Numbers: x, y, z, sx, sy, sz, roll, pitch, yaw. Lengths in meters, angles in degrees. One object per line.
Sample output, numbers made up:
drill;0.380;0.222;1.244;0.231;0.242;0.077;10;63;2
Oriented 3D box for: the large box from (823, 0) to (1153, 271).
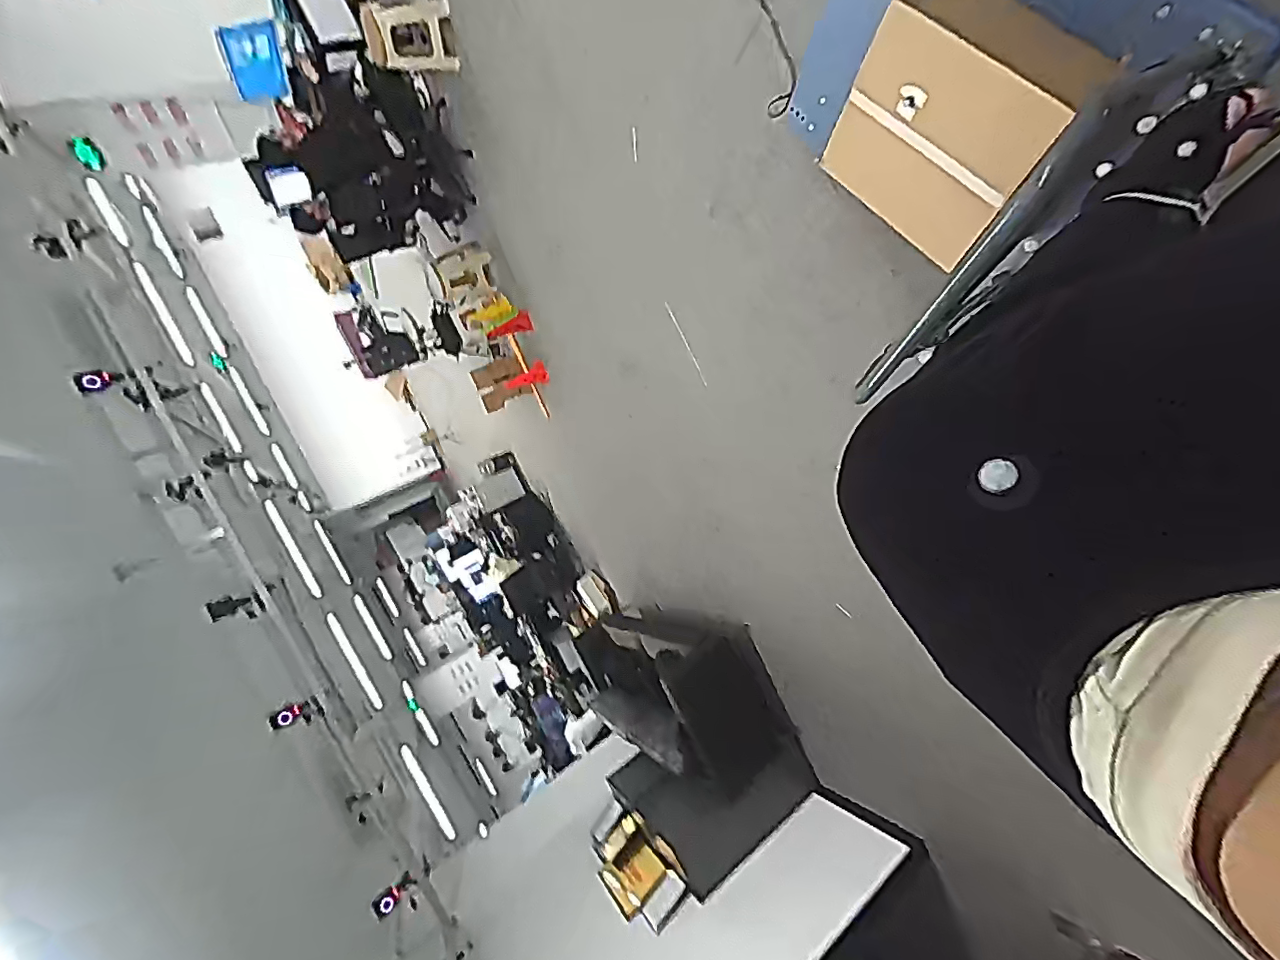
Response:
large box;0.675;-0.710;1.104;0.408;0.320;0.320;54;155;19
